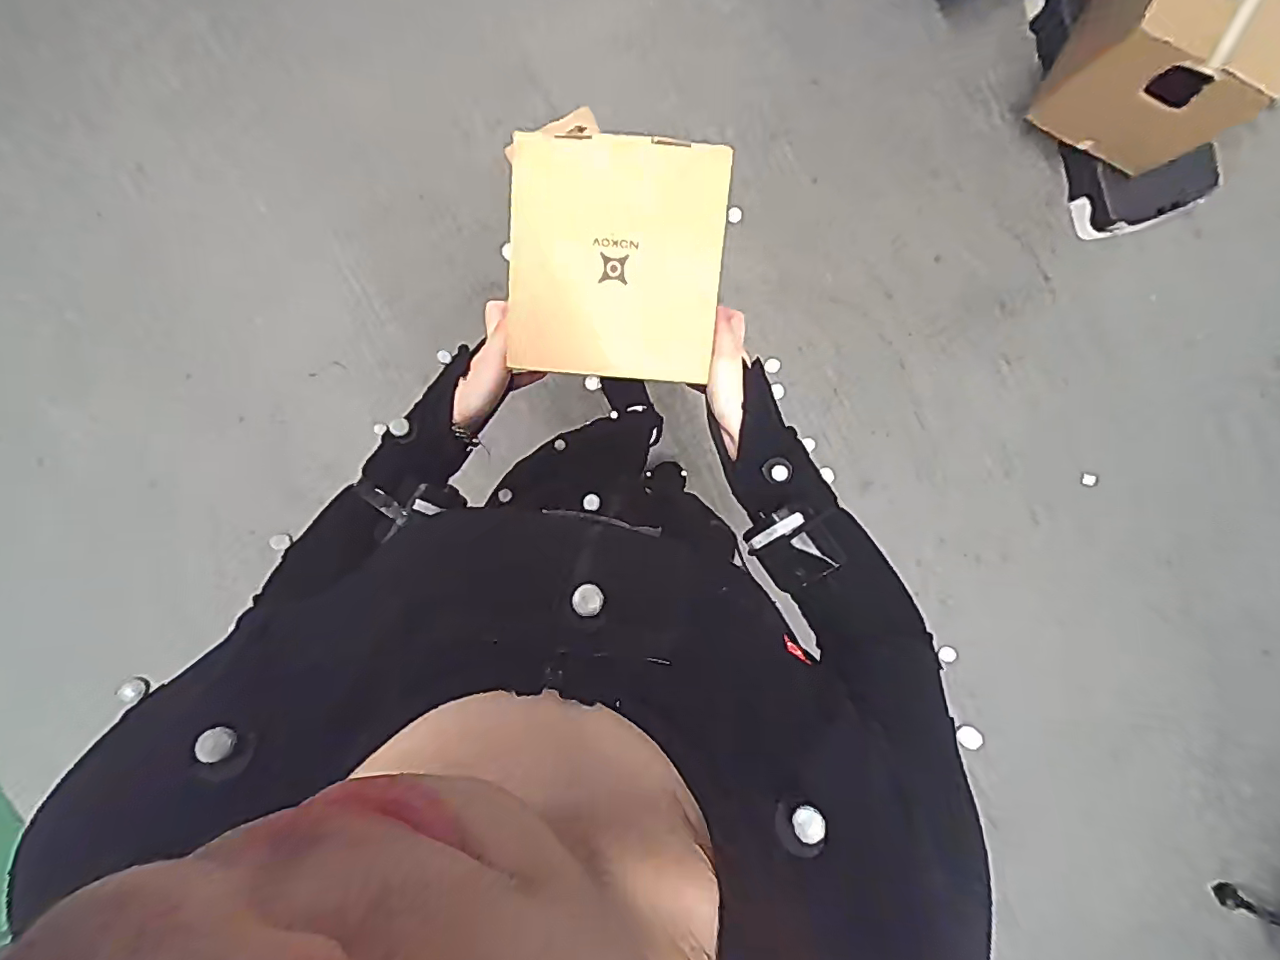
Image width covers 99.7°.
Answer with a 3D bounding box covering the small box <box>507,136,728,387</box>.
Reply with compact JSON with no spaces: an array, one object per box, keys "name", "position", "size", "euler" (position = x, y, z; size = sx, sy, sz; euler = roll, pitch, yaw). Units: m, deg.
[{"name":"small box","position":[-0.017,-0.182,0.496],"size":[0.168,0.176,0.179],"euler":[4,102,1]}]
